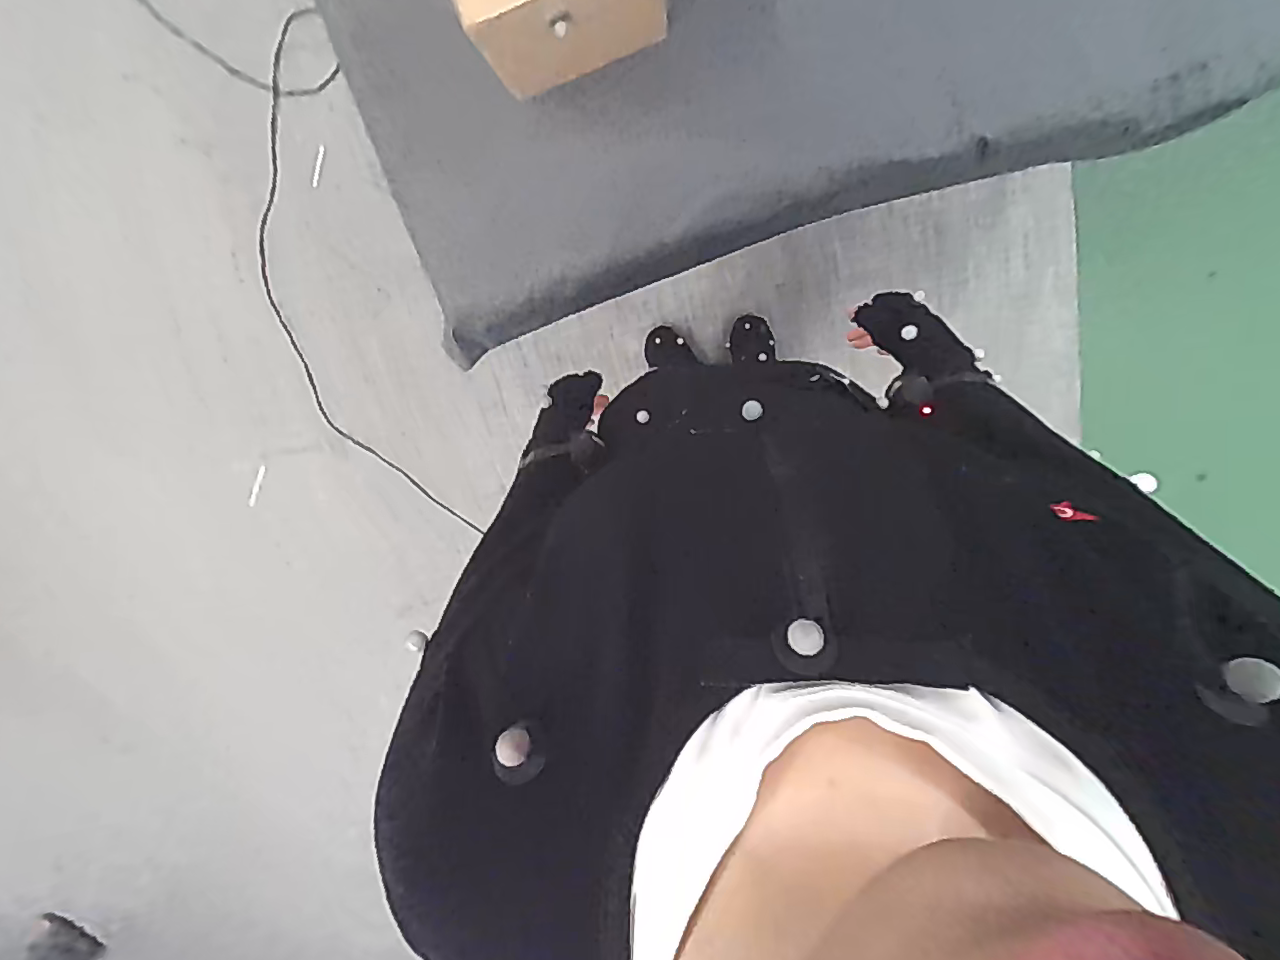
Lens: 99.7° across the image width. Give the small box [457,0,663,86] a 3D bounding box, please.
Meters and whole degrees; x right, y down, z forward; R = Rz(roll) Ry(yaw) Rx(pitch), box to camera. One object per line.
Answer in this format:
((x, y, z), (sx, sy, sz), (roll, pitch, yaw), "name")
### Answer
((-0.083, -0.502, 0.490), (0.179, 0.176, 0.168), (-17, 107, 8), "small box")
